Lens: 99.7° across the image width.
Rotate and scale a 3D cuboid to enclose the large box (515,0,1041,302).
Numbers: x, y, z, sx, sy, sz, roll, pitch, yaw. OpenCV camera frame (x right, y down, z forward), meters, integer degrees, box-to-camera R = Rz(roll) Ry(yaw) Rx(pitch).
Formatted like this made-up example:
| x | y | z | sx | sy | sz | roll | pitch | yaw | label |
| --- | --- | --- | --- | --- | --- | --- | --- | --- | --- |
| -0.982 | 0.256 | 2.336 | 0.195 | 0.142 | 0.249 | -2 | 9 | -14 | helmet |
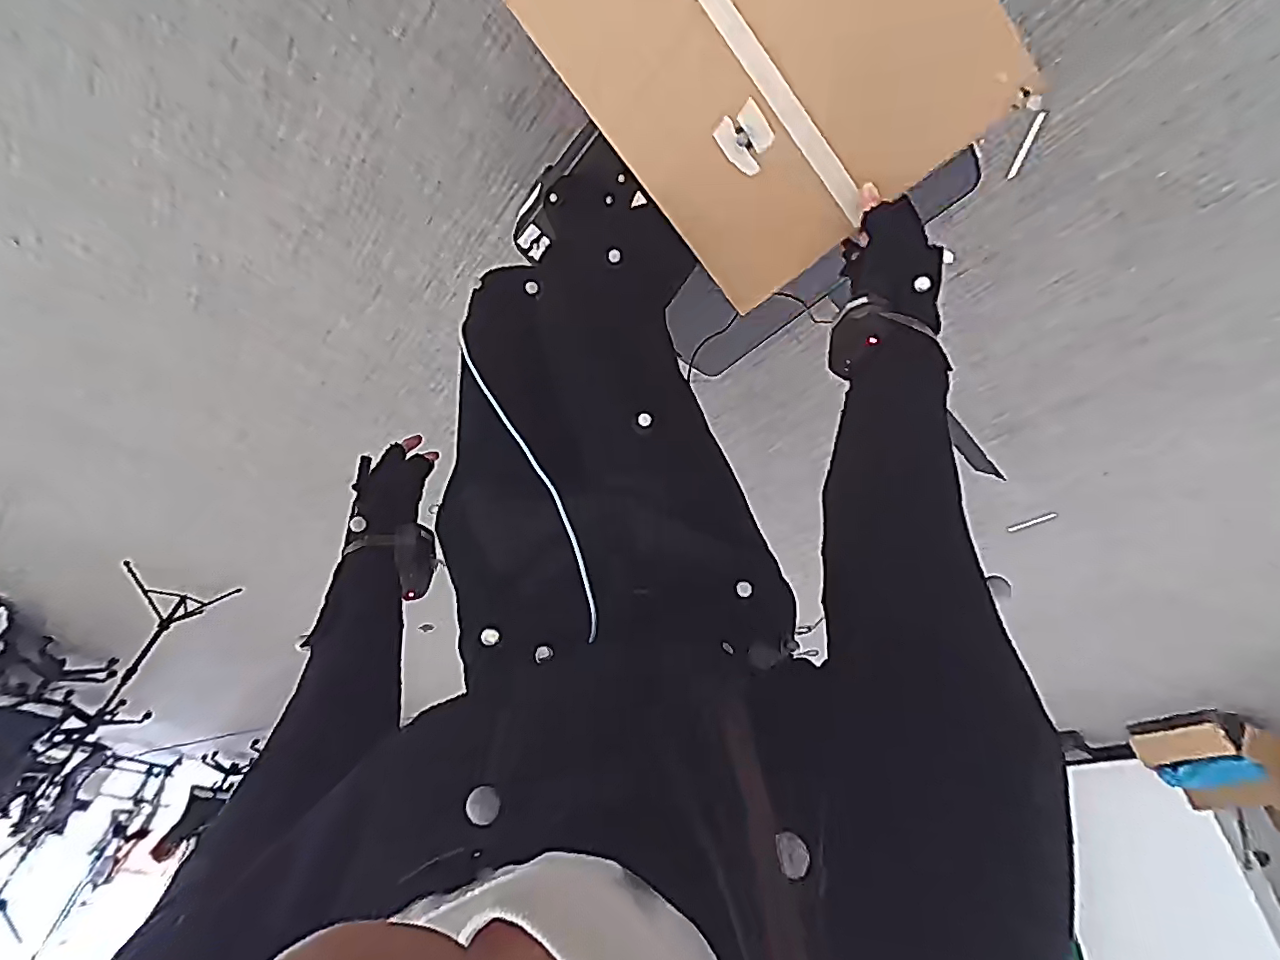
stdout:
| x | y | z | sx | sy | sz | roll | pitch | yaw | label |
| --- | --- | --- | --- | --- | --- | --- | --- | --- | --- |
| 0.153 | -0.490 | 0.607 | 0.320 | 0.320 | 0.408 | -32 | 104 | 40 | large box |
